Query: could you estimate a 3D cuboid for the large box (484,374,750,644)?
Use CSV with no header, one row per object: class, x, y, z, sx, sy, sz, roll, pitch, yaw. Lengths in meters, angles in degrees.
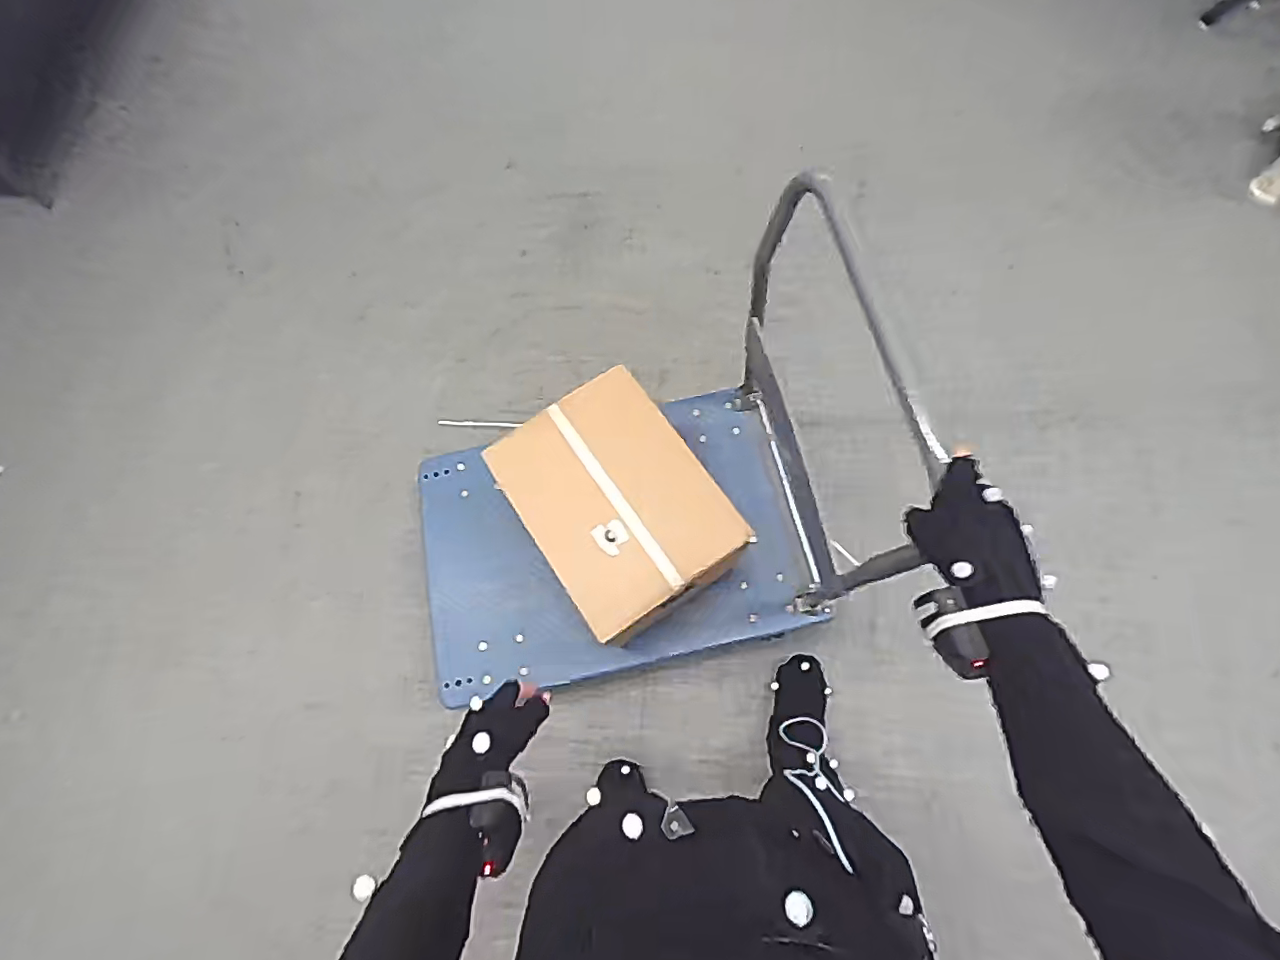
large box,-0.044,0.074,1.094,0.320,0.320,0.408,-35,74,-7
